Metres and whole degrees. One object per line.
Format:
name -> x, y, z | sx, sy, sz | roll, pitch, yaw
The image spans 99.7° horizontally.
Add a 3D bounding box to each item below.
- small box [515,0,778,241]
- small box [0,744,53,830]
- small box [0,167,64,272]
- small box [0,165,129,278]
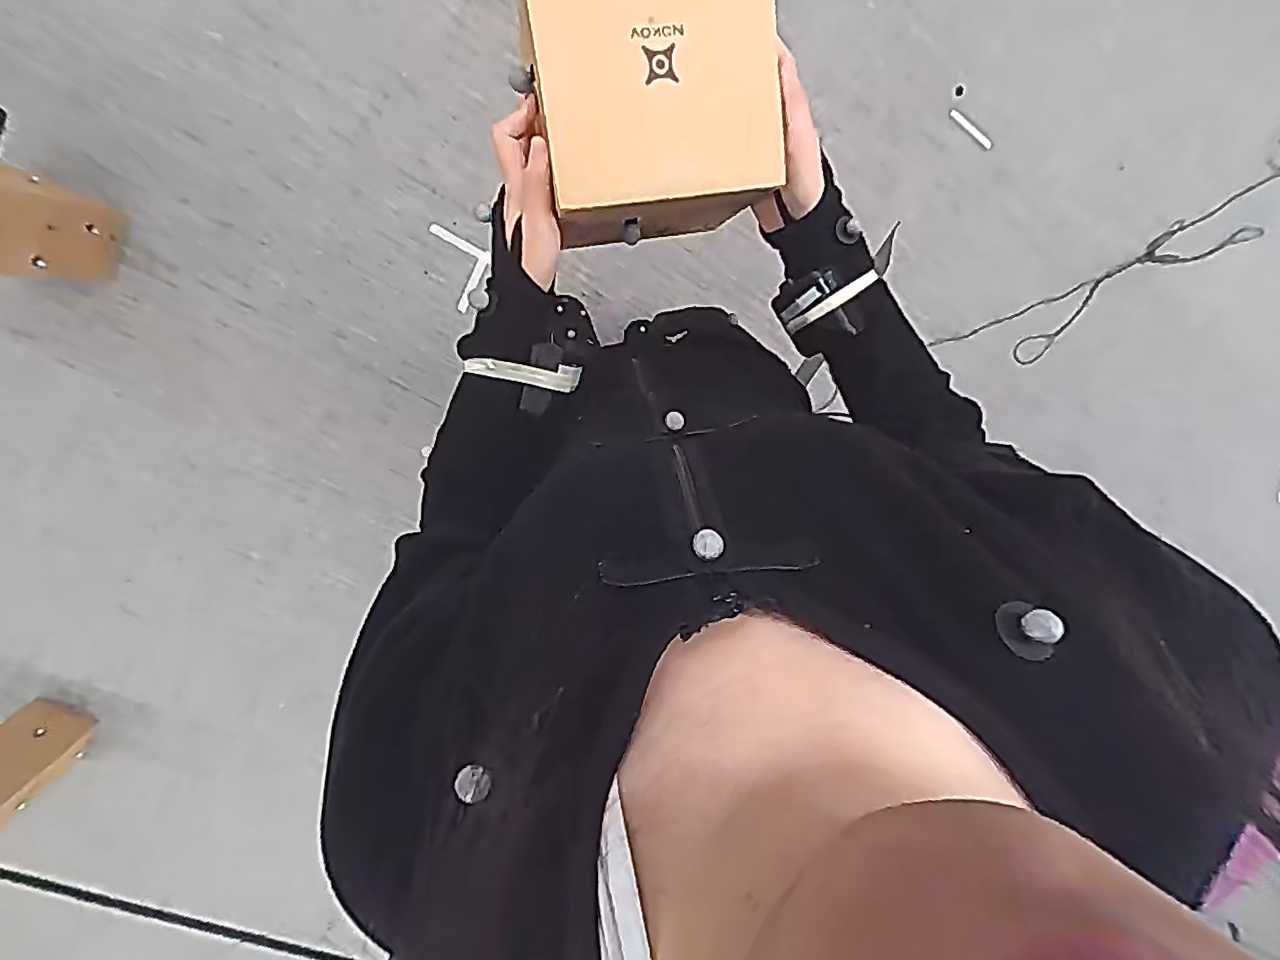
small box -> -0.003, -0.301, 0.432 | 0.168, 0.176, 0.179 | -10, 104, -7
small box -> -1.678, 0.800, 1.366 | 0.179, 0.176, 0.168 | 33, 103, -15
small box -> -1.238, -0.499, 0.993 | 0.179, 0.176, 0.168 | 25, 103, -13
small box -> -1.257, -0.545, 1.150 | 0.179, 0.176, 0.168 | 25, 103, -12
